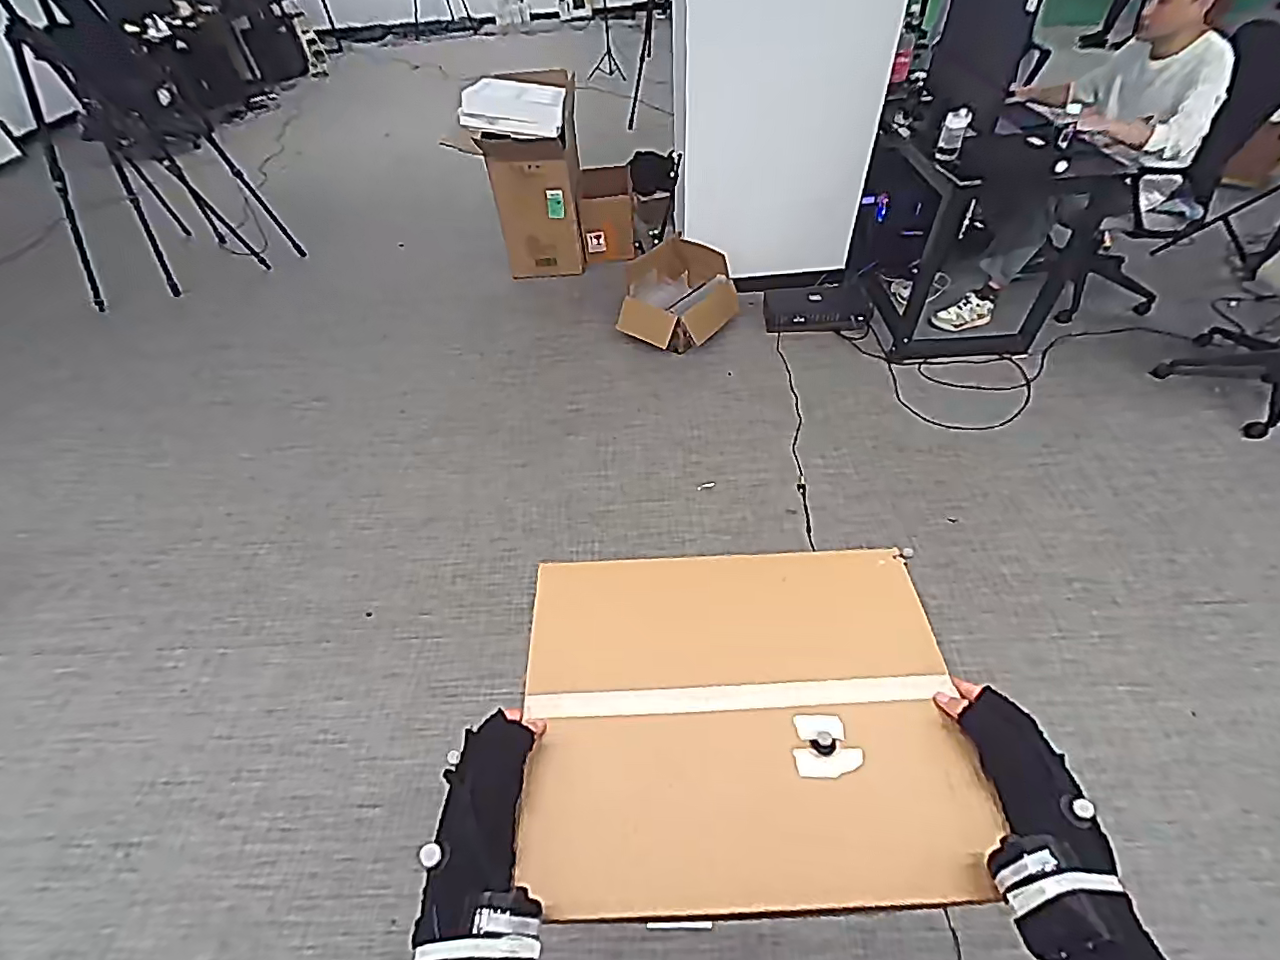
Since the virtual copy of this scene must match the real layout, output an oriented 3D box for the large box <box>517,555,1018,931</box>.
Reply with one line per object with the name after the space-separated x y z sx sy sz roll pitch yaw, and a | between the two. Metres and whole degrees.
0.096 0.308 0.628 0.408 0.320 0.320 -2 50 0 | large box
